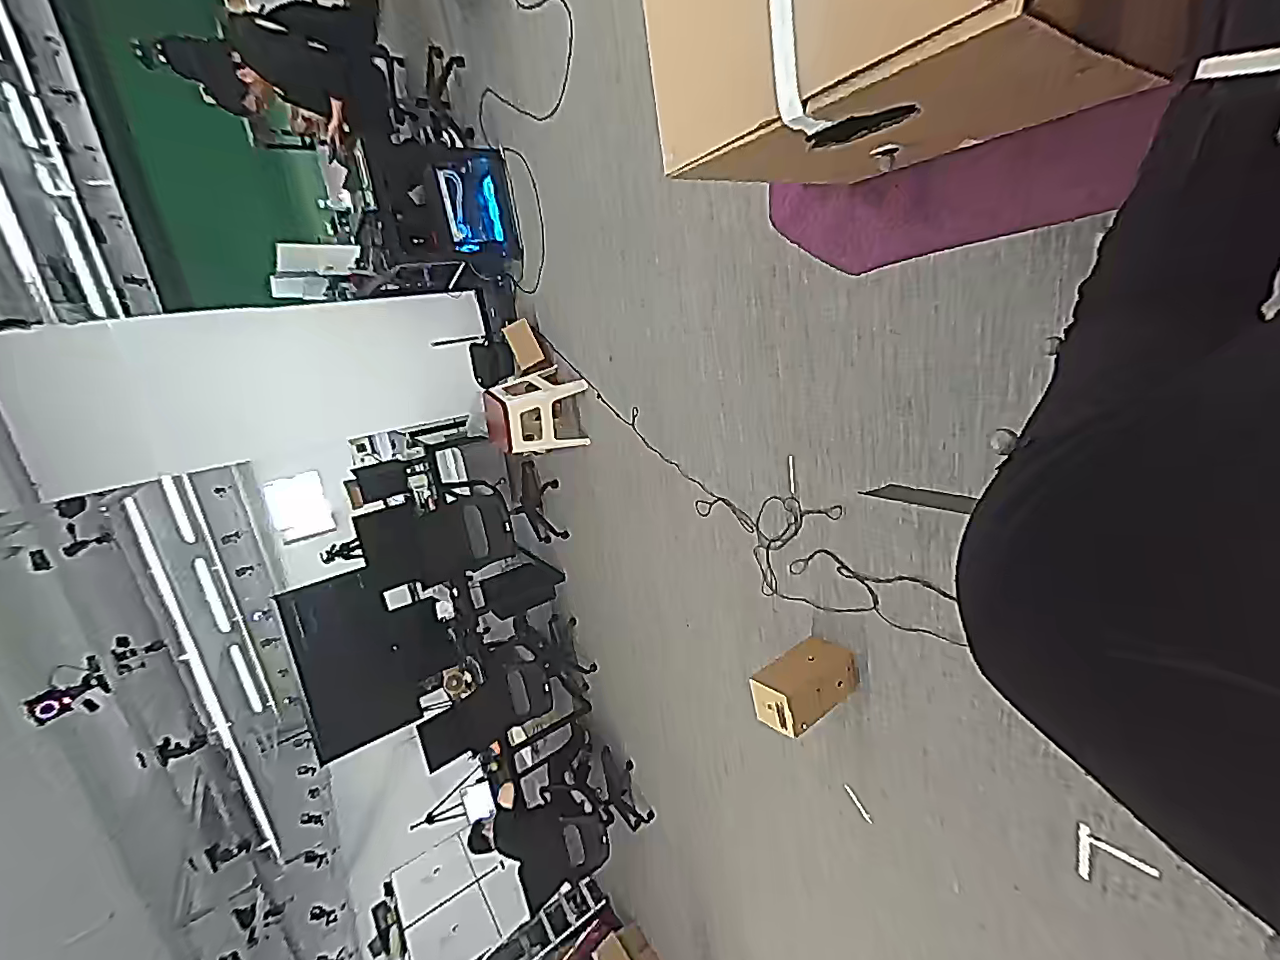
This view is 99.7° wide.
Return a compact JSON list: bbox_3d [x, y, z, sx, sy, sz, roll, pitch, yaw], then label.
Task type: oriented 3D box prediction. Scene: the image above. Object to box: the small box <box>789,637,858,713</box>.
[{"bbox_3d":[0.665,0.691,1.940,0.179,0.176,0.168,12,116,56],"label":"small box"}]
